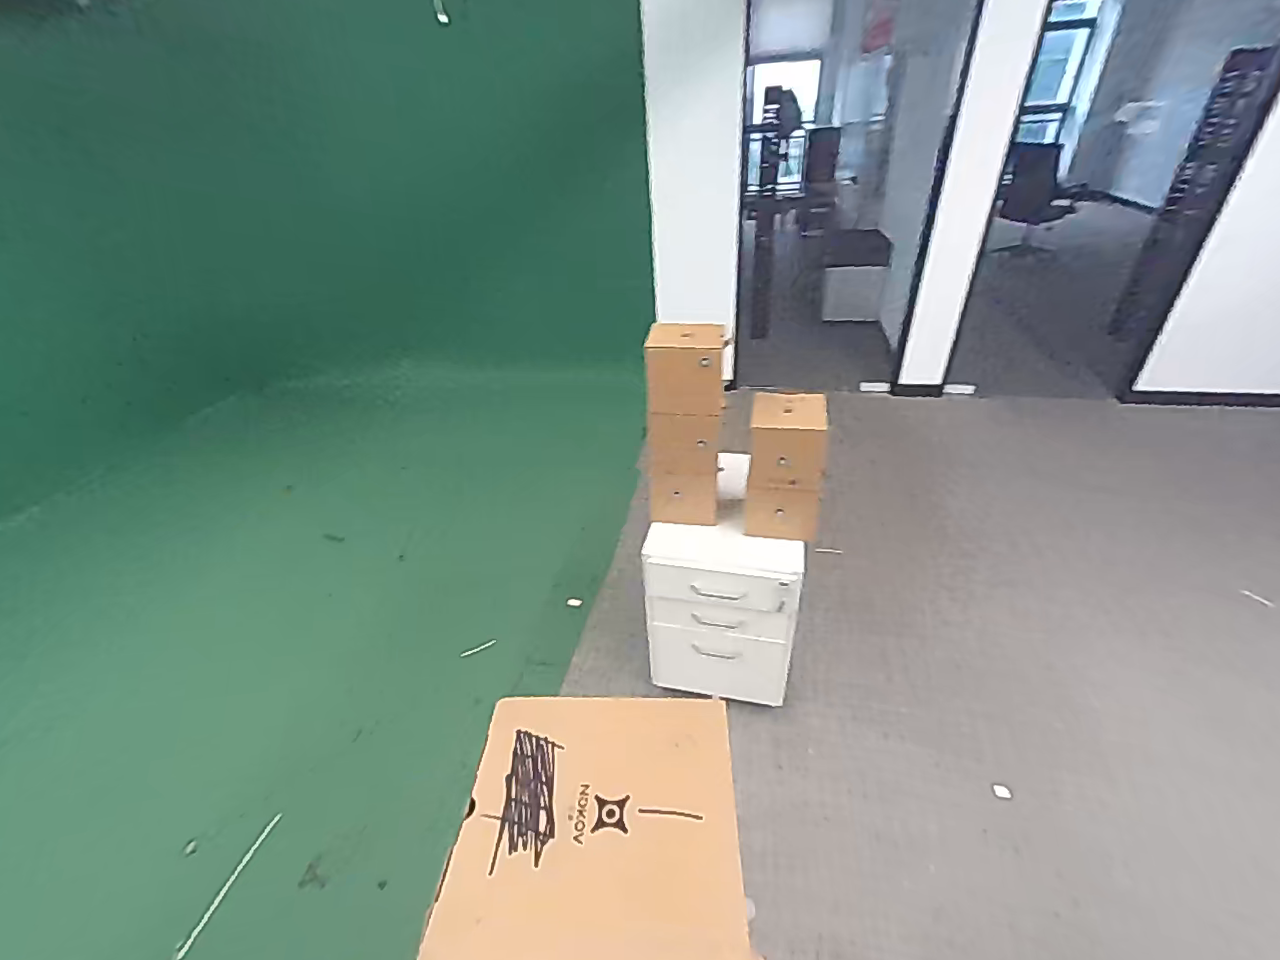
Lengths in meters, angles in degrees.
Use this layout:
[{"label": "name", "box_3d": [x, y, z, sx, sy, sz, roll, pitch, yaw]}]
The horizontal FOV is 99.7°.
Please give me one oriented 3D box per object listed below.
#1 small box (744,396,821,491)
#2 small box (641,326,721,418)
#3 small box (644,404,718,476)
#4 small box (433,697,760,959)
[{"label": "small box", "box_3d": [0.342, -0.088, 1.307, 0.168, 0.176, 0.179, 4, 35, 13]}, {"label": "small box", "box_3d": [0.101, -0.259, 1.294, 0.179, 0.176, 0.168, 3, 35, 7]}, {"label": "small box", "box_3d": [0.107, -0.122, 1.383, 0.179, 0.176, 0.168, 2, 34, 7]}, {"label": "small box", "box_3d": [-0.016, 0.280, 0.386, 0.179, 0.176, 0.168, 0, 32, 4]}]
